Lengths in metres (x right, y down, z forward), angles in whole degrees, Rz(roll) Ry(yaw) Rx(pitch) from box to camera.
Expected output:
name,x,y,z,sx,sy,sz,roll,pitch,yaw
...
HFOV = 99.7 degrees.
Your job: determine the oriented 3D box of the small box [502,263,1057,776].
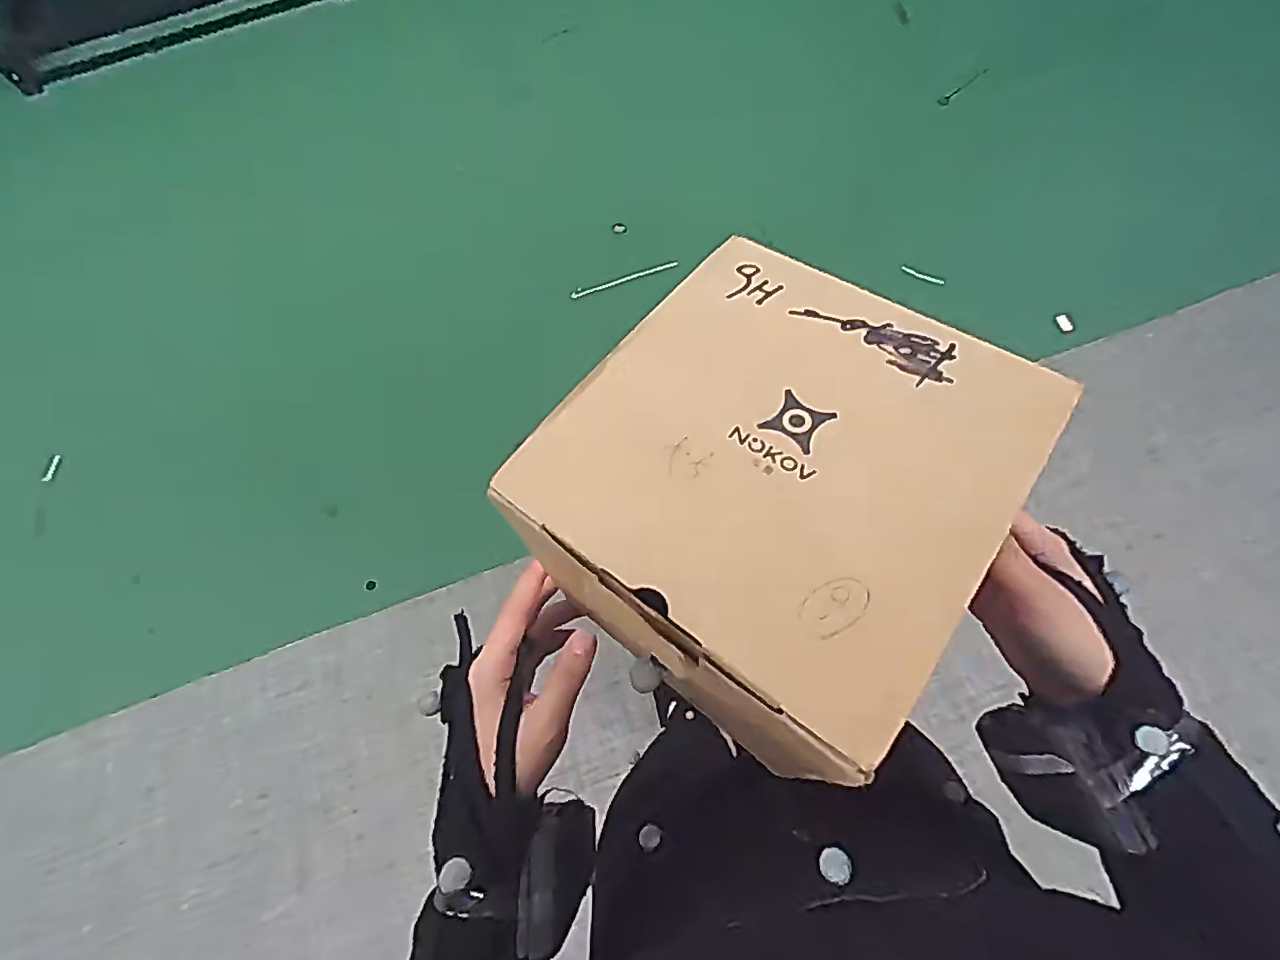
name,x,y,z,sx,sy,sz,roll,pitch,yaw
small box,0.064,0.029,0.293,0.168,0.176,0.179,34,70,21
